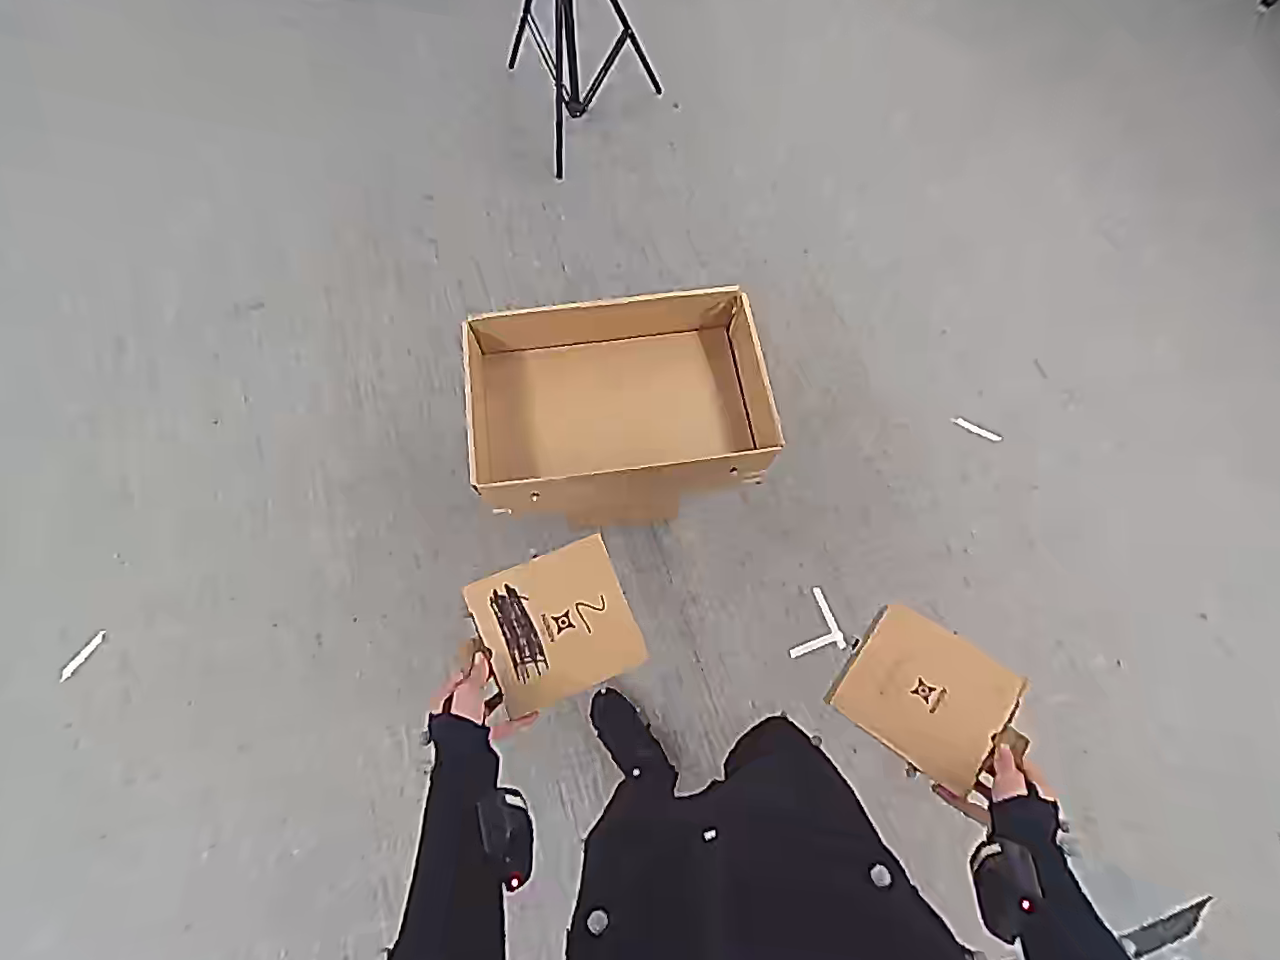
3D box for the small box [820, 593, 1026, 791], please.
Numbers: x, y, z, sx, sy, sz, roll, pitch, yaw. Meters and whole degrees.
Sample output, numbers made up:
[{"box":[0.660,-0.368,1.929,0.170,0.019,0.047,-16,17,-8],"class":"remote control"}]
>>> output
[{"box":[0.367,0.279,0.738,0.179,0.176,0.168,32,81,23],"class":"small box"}]
